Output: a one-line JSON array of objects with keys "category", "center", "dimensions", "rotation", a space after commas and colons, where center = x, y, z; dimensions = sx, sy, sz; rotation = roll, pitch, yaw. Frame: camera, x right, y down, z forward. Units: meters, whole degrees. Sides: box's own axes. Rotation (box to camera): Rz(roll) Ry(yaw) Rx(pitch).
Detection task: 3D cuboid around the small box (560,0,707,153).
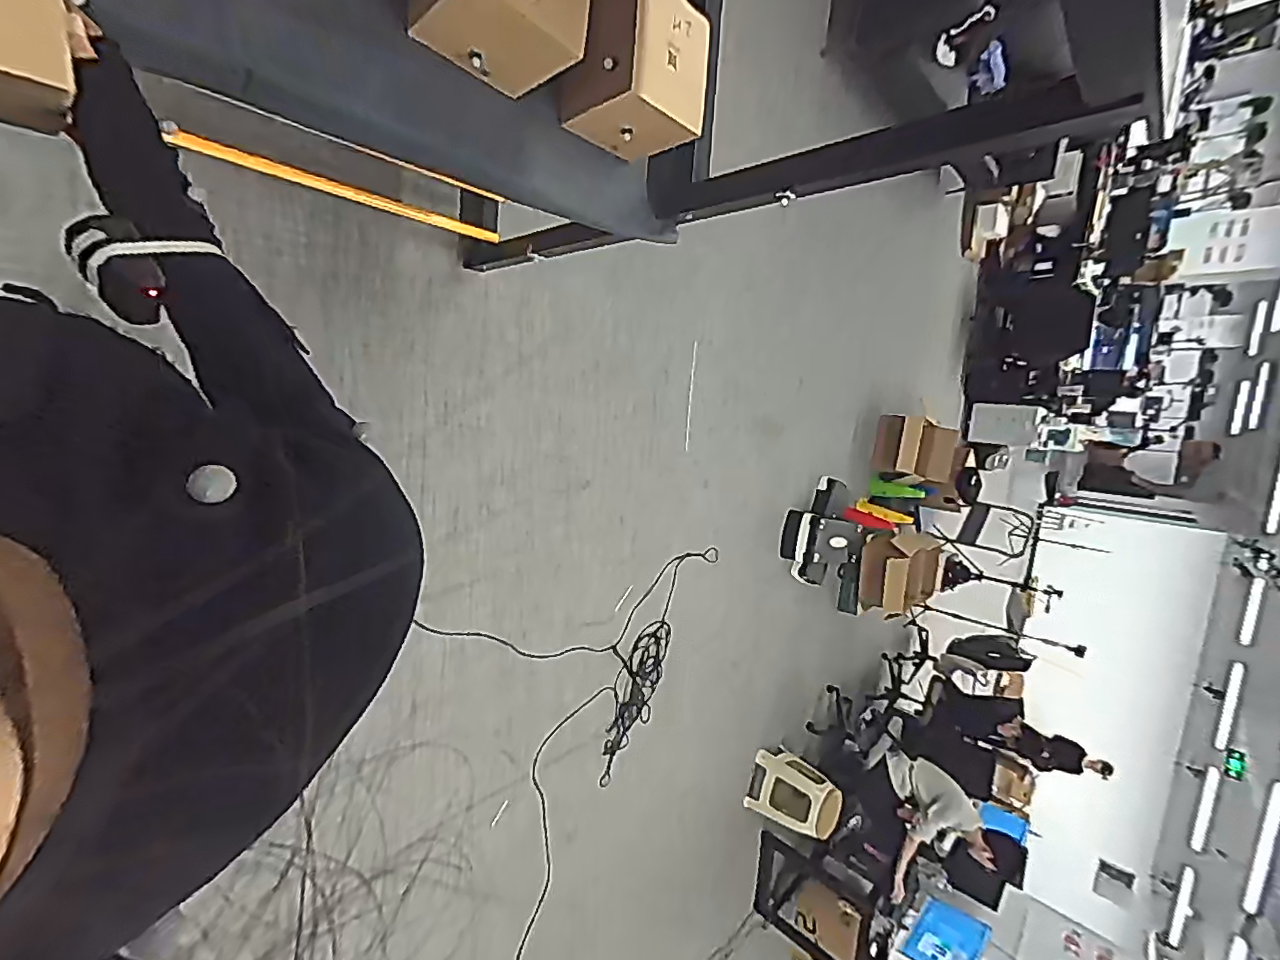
[{"category": "small box", "center": [-0.014, -0.665, 0.875], "dimensions": [0.168, 0.176, 0.179], "rotation": [-4, 101, -47]}]
